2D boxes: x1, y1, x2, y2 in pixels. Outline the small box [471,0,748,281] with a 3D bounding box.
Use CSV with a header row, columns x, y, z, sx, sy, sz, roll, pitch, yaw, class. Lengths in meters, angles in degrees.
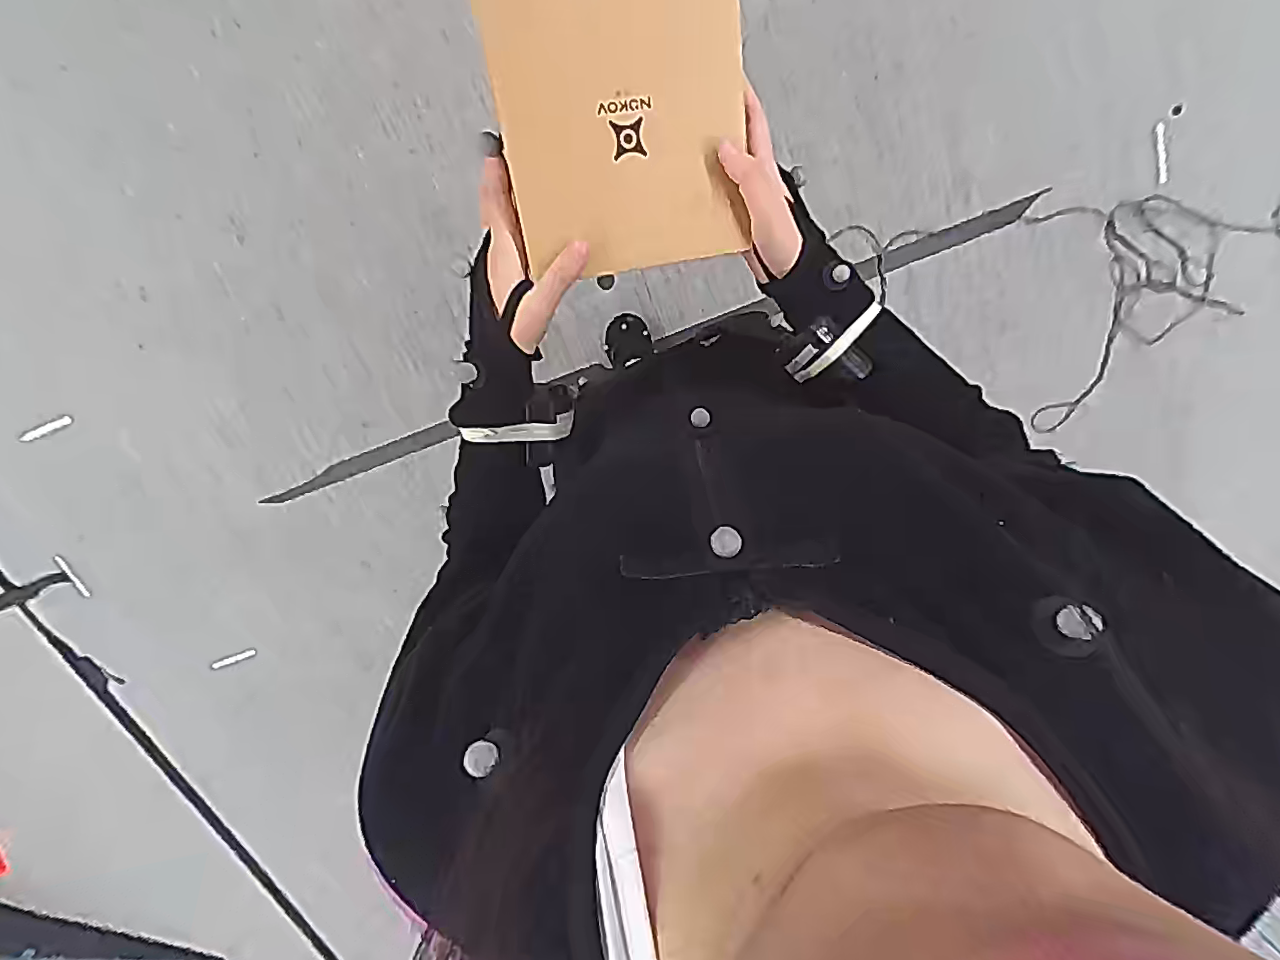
x,y,z,sx,sy,sz,roll,pitch,yaw,class
-0.023,-0.265,0.428,0.168,0.176,0.179,-12,114,-6,small box
